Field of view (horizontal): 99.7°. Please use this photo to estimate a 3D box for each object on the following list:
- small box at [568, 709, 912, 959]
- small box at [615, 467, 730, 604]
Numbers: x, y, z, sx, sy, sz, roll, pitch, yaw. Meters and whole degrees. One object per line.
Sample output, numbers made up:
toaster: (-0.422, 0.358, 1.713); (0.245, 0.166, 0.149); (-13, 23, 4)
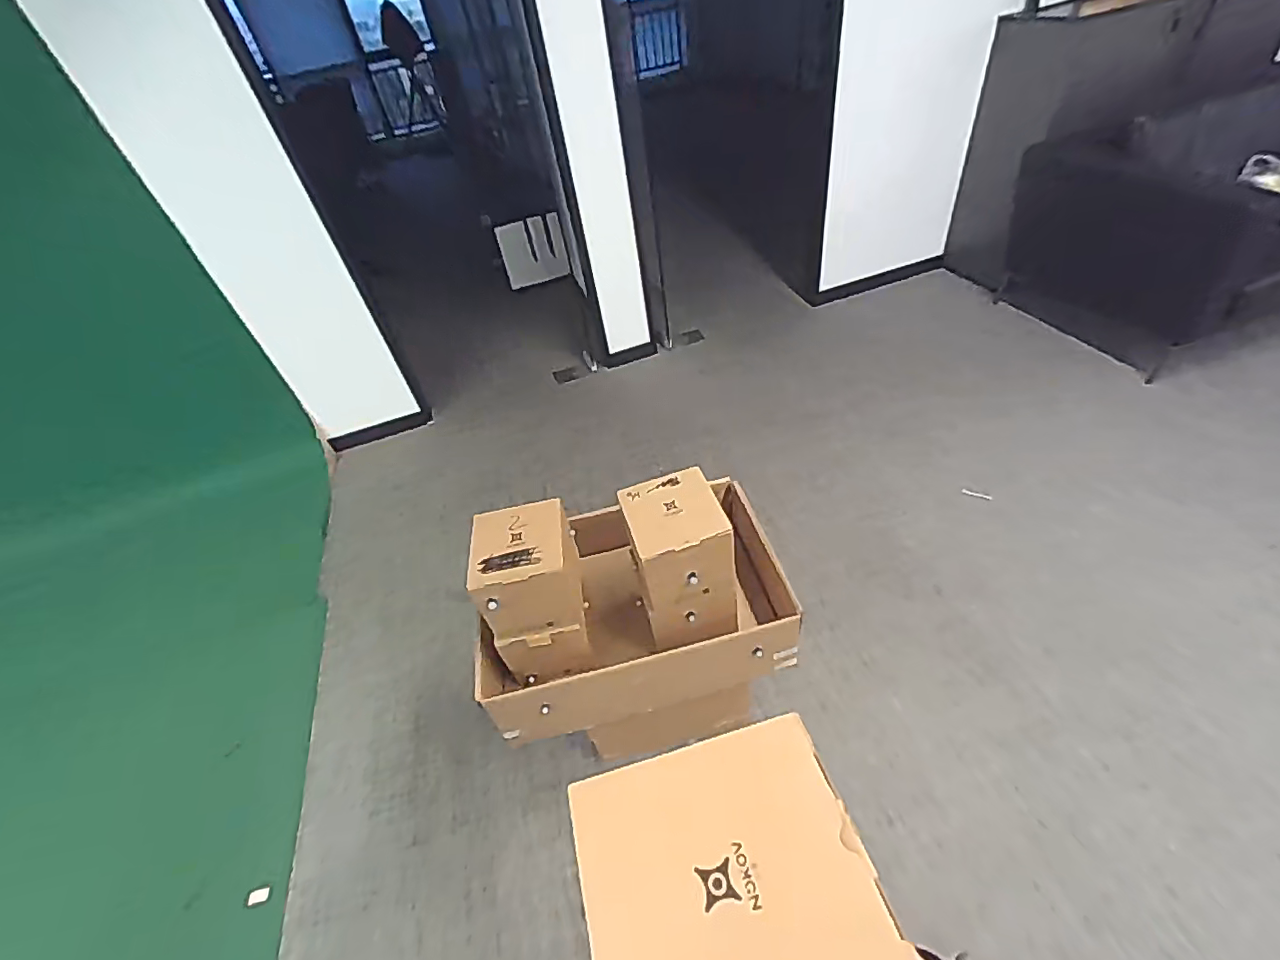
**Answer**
small box: (0.060, 0.301, 0.389); (0.179, 0.176, 0.168); (-15, 43, -6)
small box: (0.063, 0.111, 1.011); (0.168, 0.176, 0.179); (-16, 45, -5)
